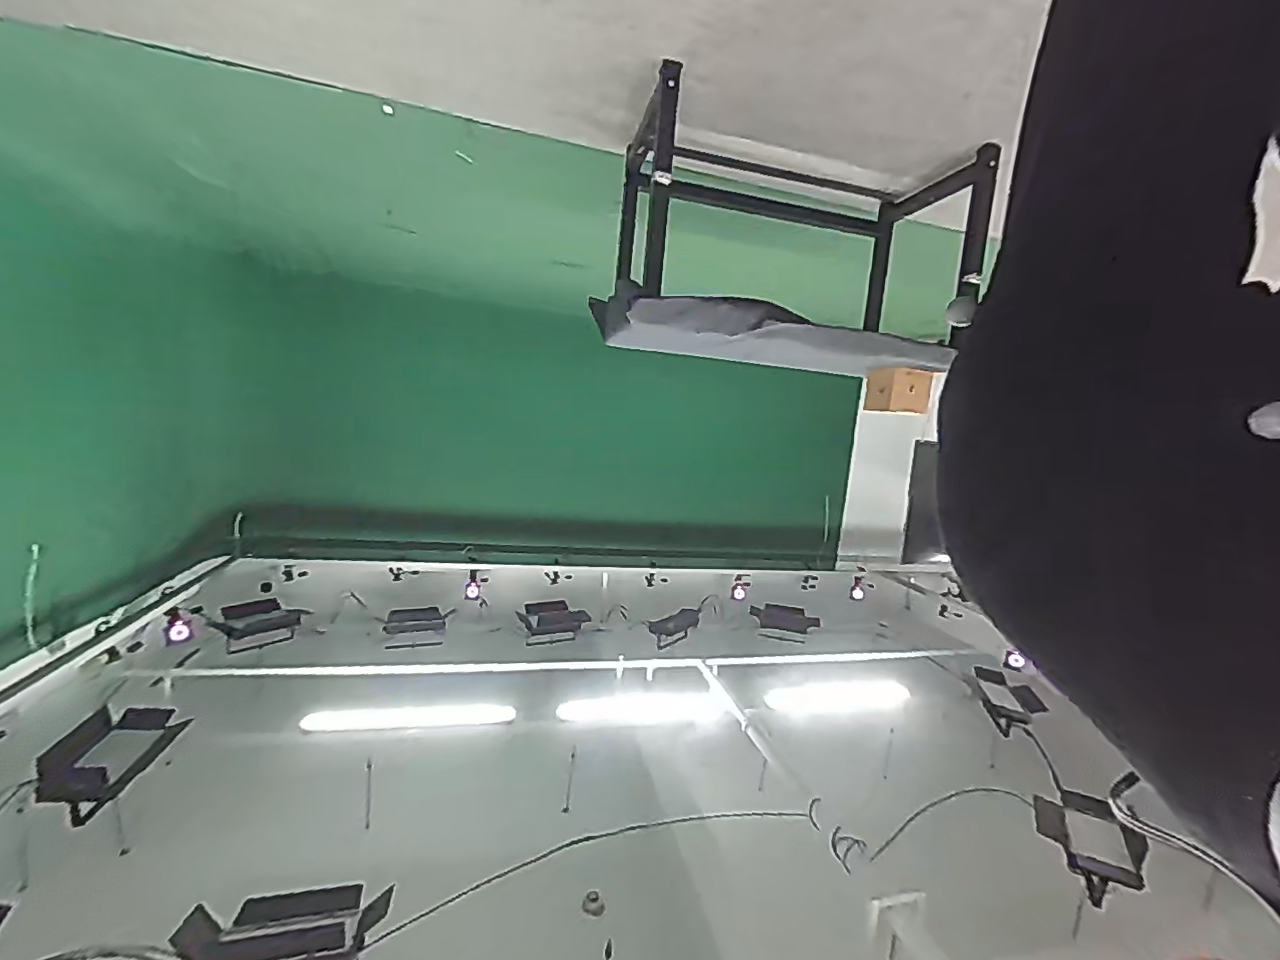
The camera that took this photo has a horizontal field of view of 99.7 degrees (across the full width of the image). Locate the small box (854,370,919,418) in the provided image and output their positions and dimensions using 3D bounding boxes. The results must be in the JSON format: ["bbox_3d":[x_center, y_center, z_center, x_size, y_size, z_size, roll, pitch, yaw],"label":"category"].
[{"bbox_3d":[0.974,-0.338,2.137,0.168,0.176,0.179,5,-174,-13],"label":"small box"}]
